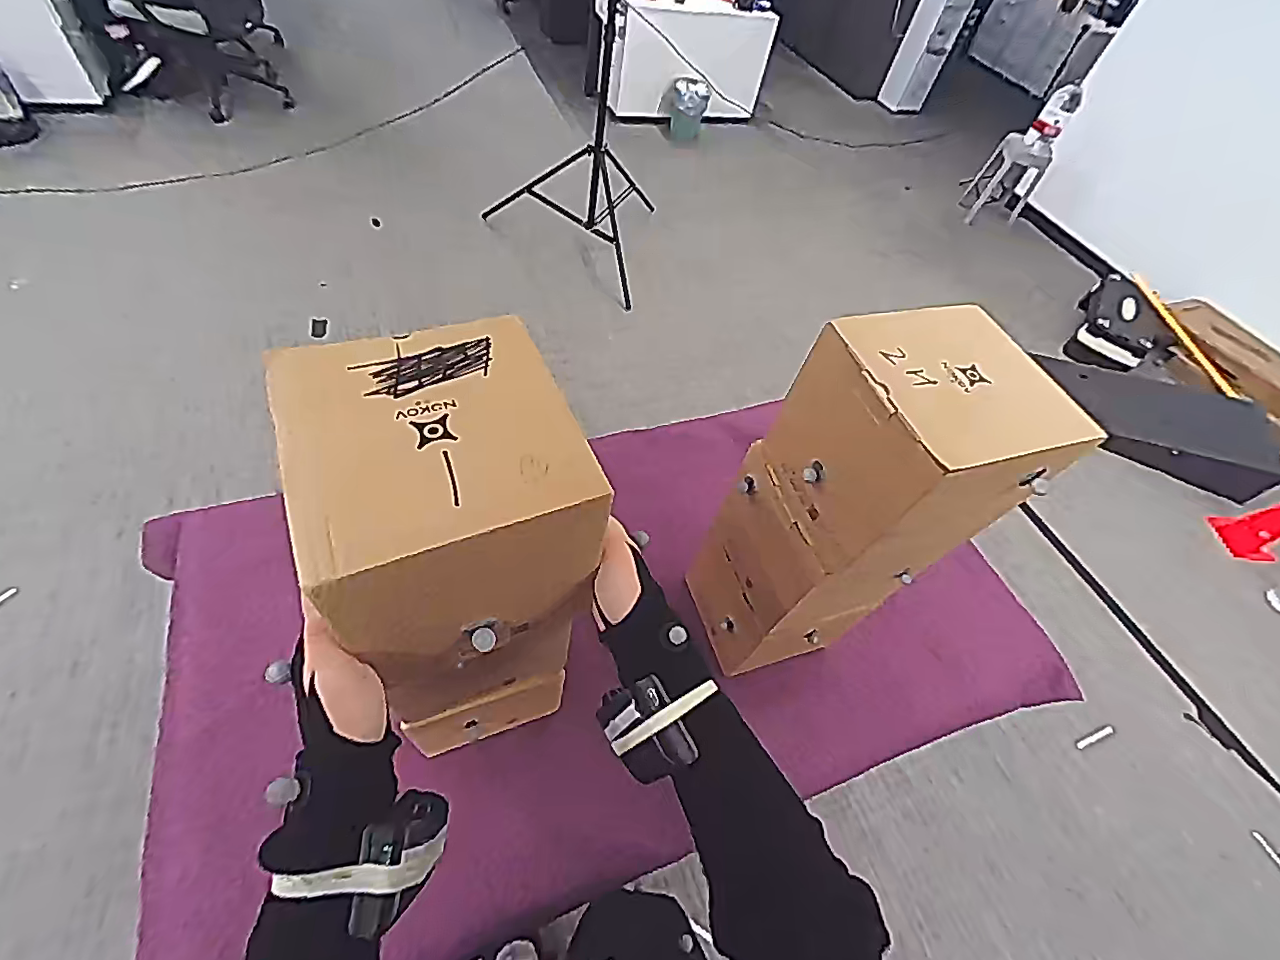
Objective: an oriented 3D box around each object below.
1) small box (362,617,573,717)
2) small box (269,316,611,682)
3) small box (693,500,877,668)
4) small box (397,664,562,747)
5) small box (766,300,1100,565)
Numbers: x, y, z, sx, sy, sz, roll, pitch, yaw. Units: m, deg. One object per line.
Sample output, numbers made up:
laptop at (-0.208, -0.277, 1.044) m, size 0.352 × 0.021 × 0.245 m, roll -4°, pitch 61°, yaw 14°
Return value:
small box at (-0.173, 0.102, 0.529) m, size 0.168 × 0.176 × 0.179 m, roll -15°, pitch 58°, yaw -20°
small box at (-0.137, 0.013, 0.389) m, size 0.168 × 0.176 × 0.179 m, roll -17°, pitch 58°, yaw -22°
small box at (0.187, 0.148, 0.768) m, size 0.179 × 0.176 × 0.168 m, roll -10°, pitch 58°, yaw -19°
small box at (-0.197, 0.203, 0.655) m, size 0.168 × 0.176 × 0.179 m, roll -13°, pitch 57°, yaw -19°
small box at (0.248, -0.042, 0.506) m, size 0.179 × 0.176 × 0.168 m, roll -11°, pitch 57°, yaw -18°
